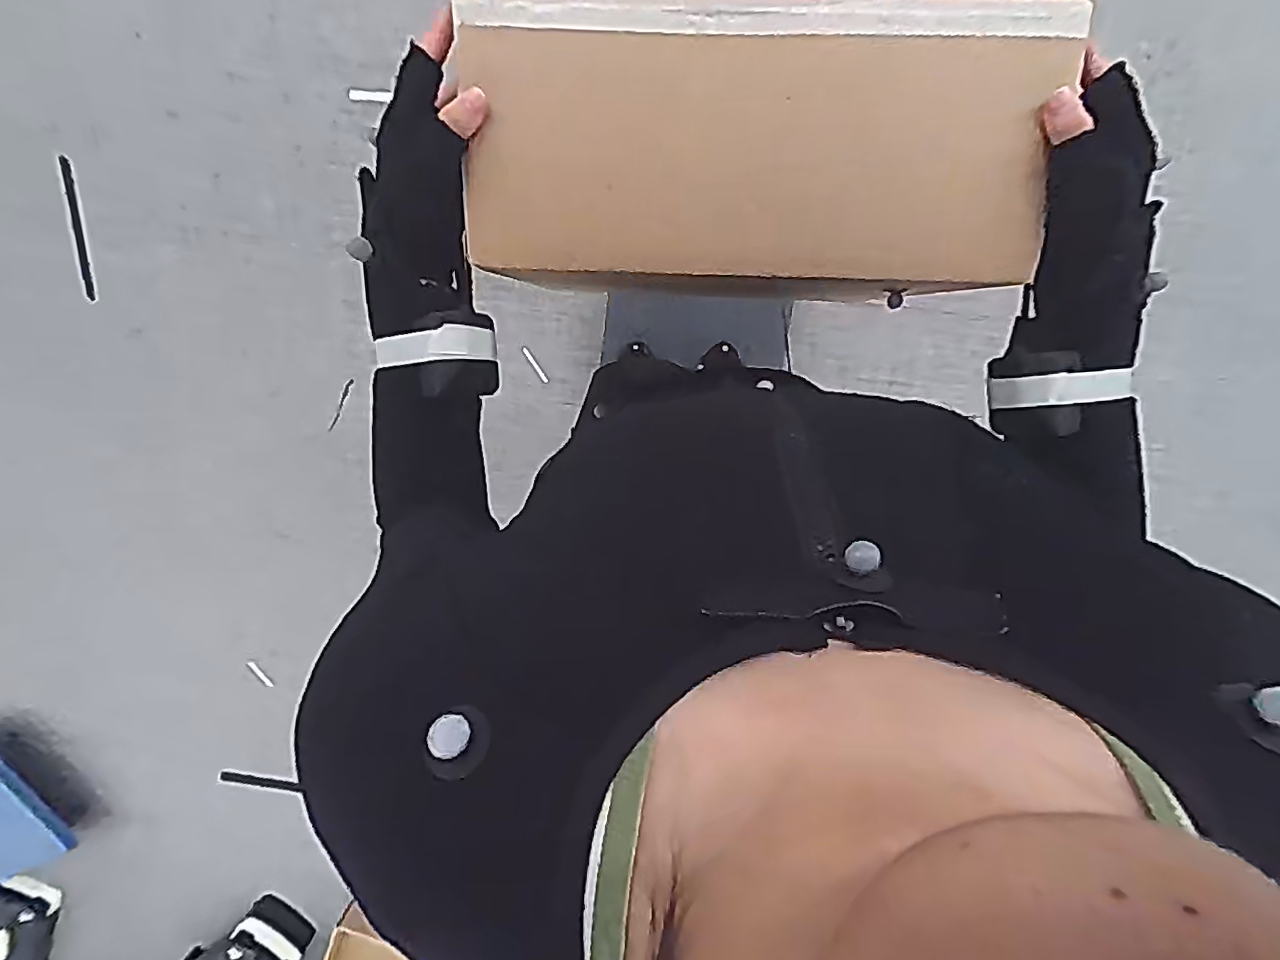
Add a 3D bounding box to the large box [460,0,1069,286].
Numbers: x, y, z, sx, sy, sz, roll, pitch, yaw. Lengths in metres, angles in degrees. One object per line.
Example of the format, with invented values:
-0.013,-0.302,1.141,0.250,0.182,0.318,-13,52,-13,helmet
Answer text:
0.083,-0.347,0.498,0.408,0.320,0.320,2,107,0,large box
